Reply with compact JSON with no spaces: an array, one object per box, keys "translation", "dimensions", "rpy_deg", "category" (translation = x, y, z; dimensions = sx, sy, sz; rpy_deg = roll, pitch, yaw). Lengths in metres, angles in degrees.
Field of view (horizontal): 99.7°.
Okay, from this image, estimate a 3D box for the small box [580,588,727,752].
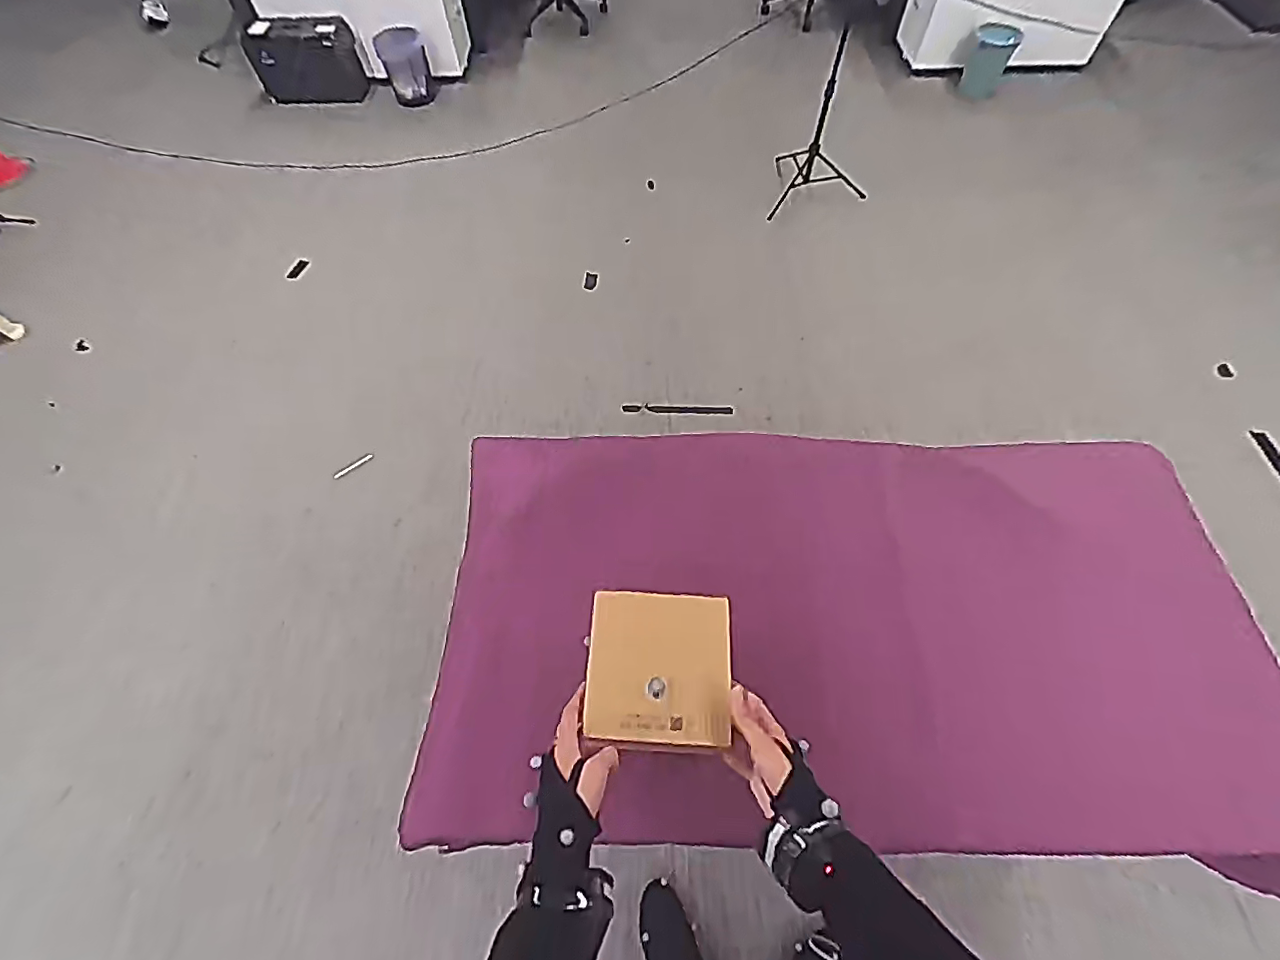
[{"translation":[0.017,0.250,0.692],"dimensions":[0.168,0.179,0.176],"rpy_deg":[3,60,0],"category":"small box"}]
